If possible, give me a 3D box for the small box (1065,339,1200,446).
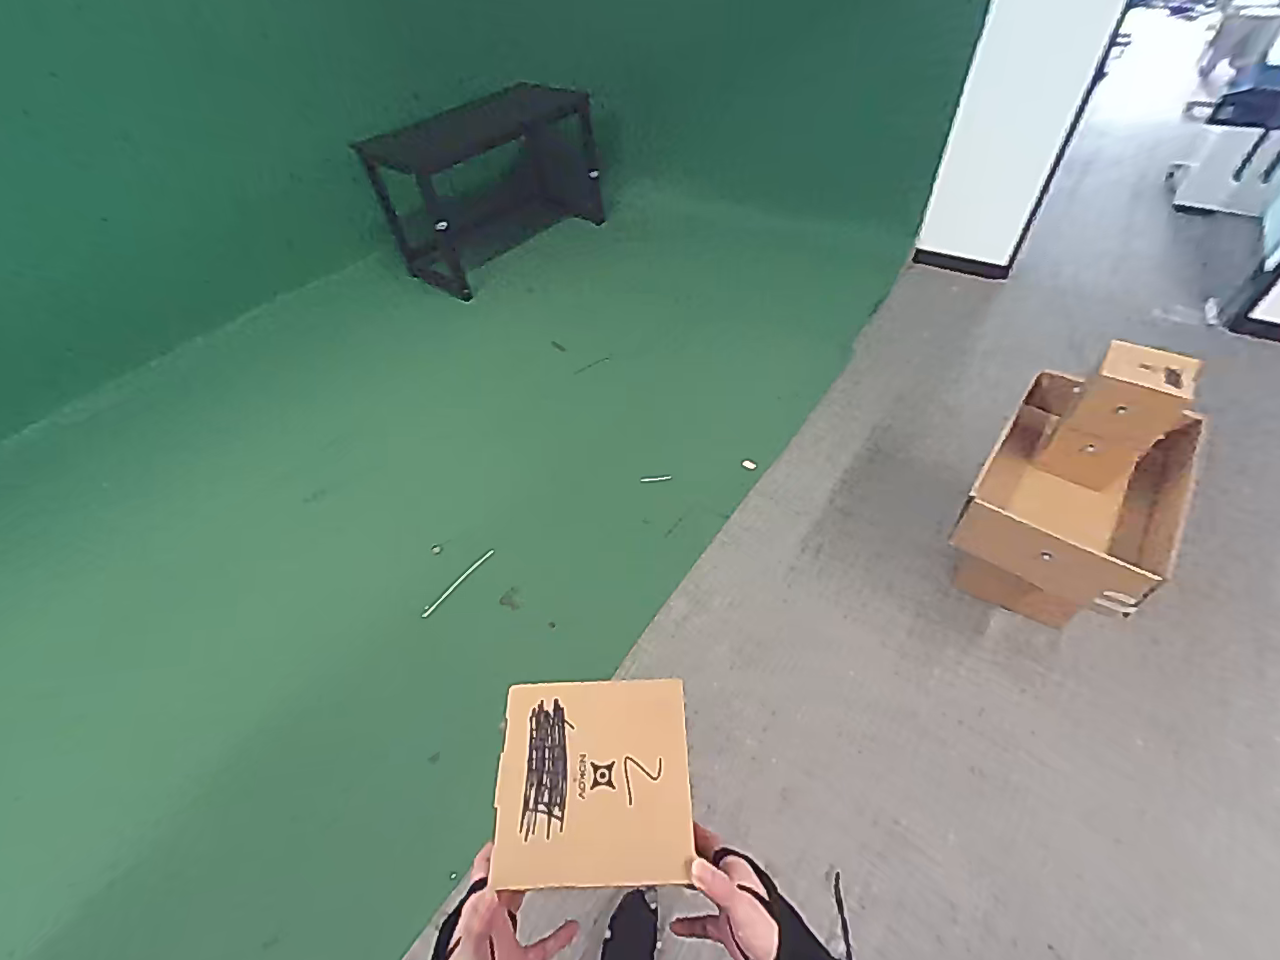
[{"bbox_3d":[1.191,-0.208,1.315,0.179,0.176,0.168,27,57,27],"label":"small box"}]

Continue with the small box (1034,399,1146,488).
[{"bbox_3d":[1.205,-0.104,1.442,0.179,0.176,0.168,29,58,27],"label":"small box"}]
